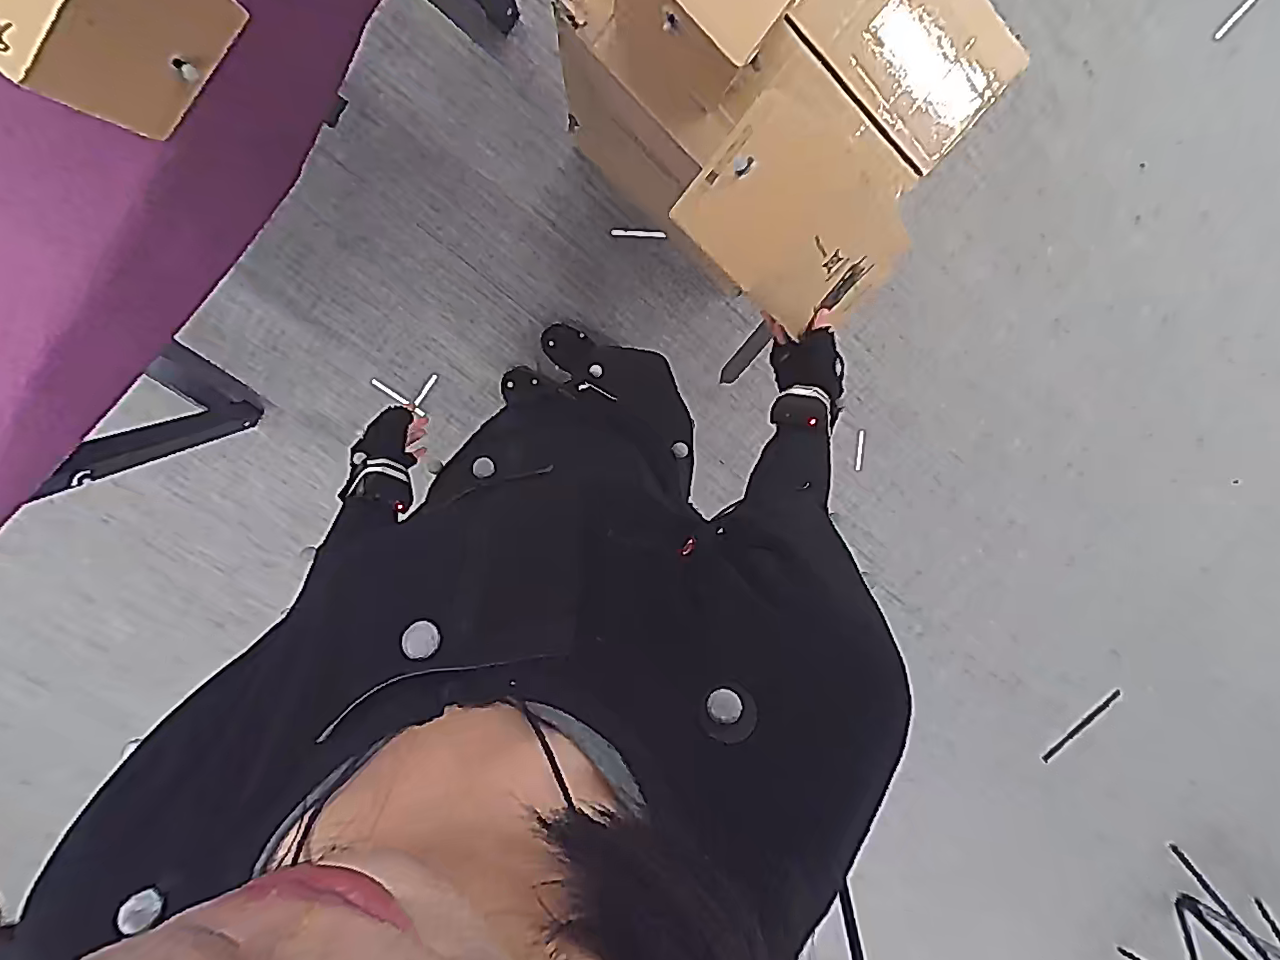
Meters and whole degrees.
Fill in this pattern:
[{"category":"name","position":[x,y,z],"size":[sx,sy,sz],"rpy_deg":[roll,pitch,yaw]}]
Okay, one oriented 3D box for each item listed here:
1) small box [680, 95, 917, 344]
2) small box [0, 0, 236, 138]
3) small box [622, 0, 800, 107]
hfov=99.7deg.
[{"category":"small box","position":[0.182,-0.297,0.632],"size":[0.168,0.176,0.179],"rpy_deg":[-45,146,22]},{"category":"small box","position":[-0.534,-0.474,0.508],"size":[0.168,0.176,0.179],"rpy_deg":[42,98,-14]},{"category":"small box","position":[0.091,-0.588,0.633],"size":[0.179,0.176,0.168],"rpy_deg":[37,103,-15]}]
